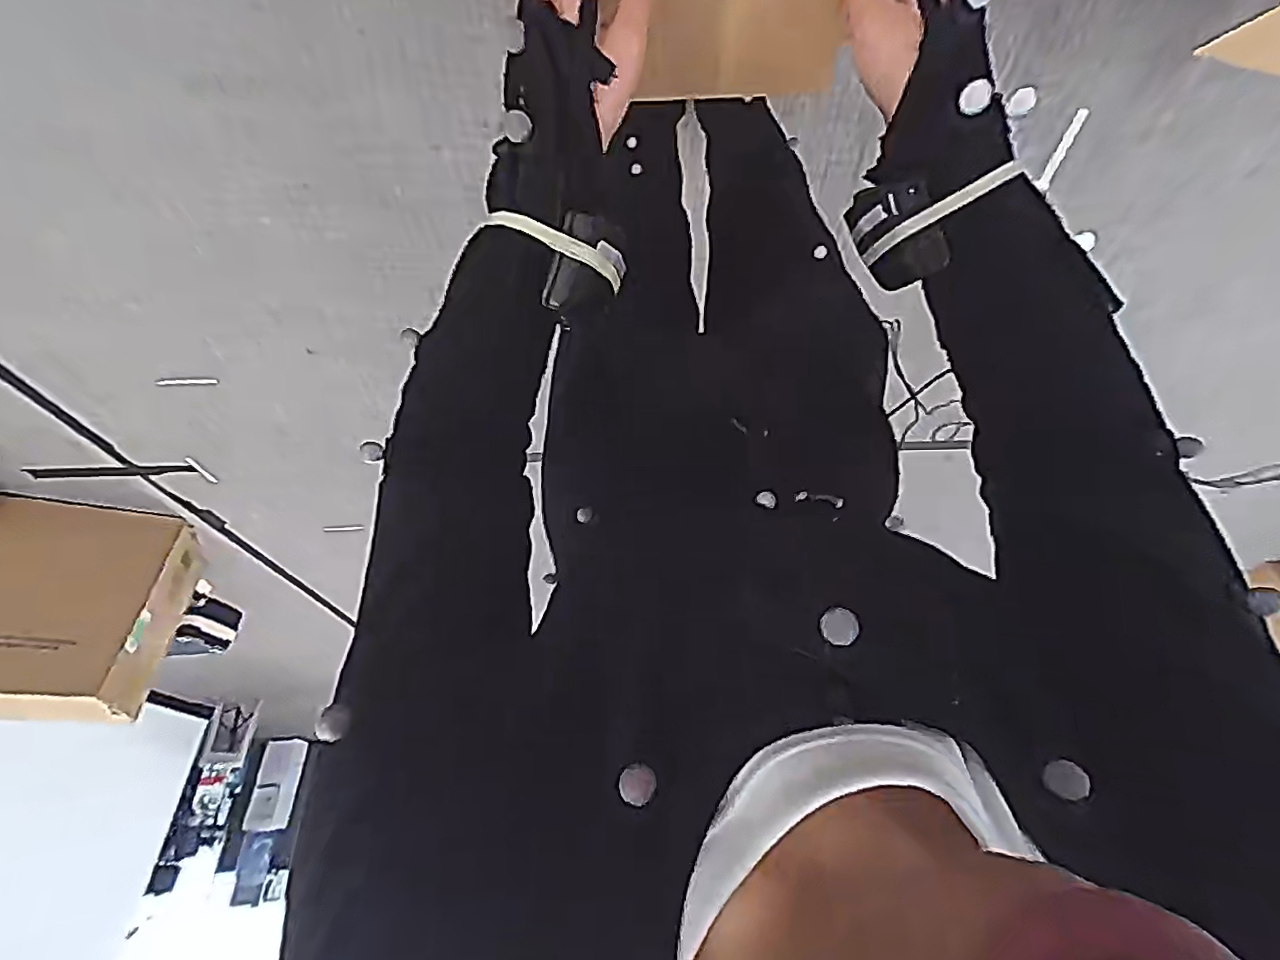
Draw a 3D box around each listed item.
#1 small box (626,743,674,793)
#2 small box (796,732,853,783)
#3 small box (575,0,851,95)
[{"bbox_3d":[0.038,1.189,2.233,0.179,0.176,0.168,2,144,-6],"label":"small box"},{"bbox_3d":[0.765,1.167,2.268,0.179,0.176,0.168,-4,146,2],"label":"small box"},{"bbox_3d":[0.042,-0.383,0.349,0.179,0.176,0.168,-2,150,-1],"label":"small box"}]
